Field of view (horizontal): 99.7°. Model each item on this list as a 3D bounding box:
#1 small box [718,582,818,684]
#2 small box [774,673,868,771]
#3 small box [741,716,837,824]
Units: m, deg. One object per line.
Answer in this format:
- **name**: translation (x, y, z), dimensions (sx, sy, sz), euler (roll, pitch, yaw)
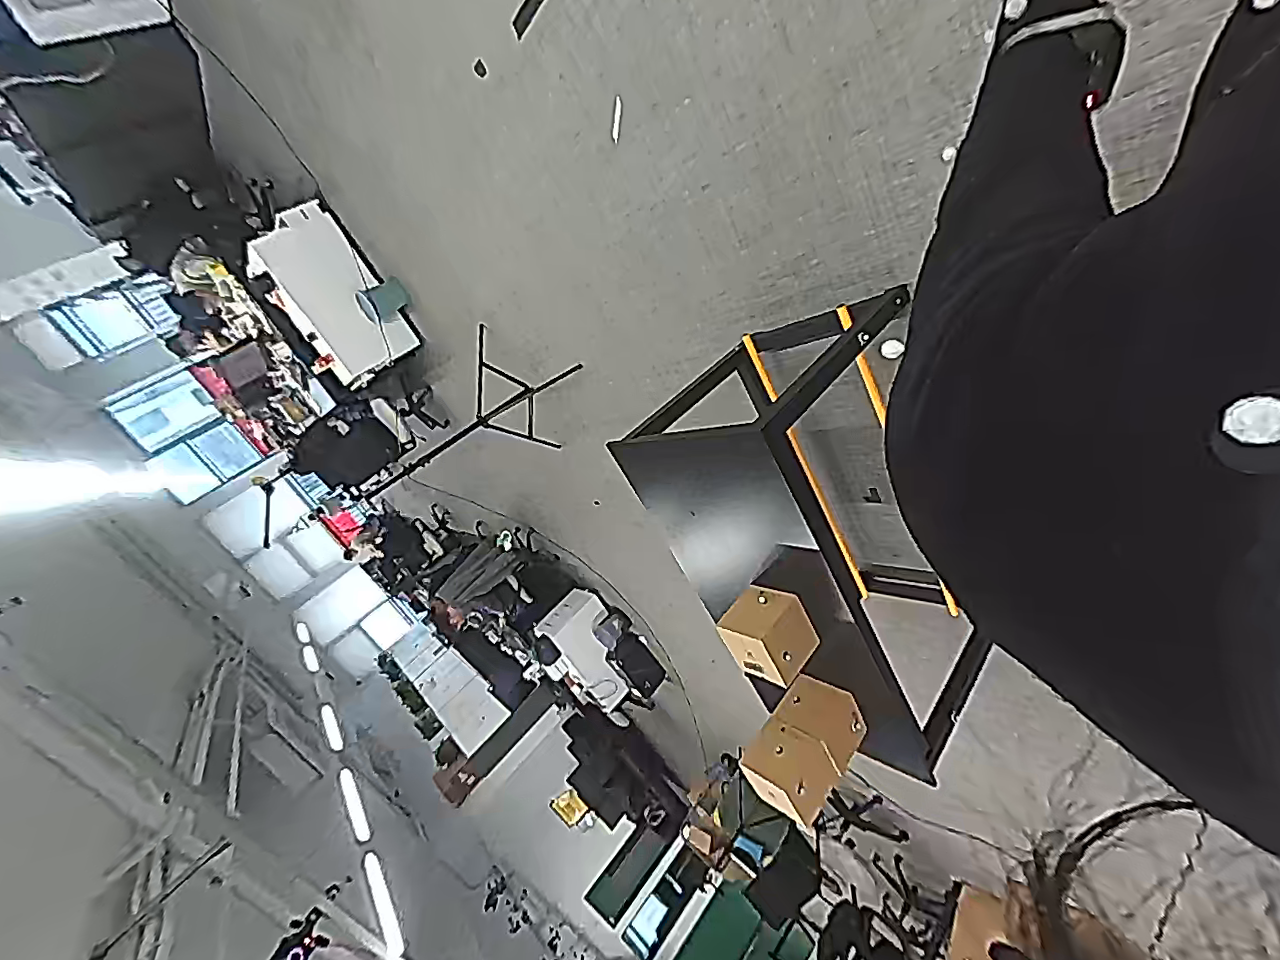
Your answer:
- **small box**: translation (0.348, 0.404, 1.451), dimensions (0.168, 0.176, 0.179), euler (2, 127, 55)
- **small box**: translation (0.529, 0.693, 1.573), dimensions (0.179, 0.176, 0.168), euler (4, 131, 53)
- **small box**: translation (0.418, 0.796, 1.506), dimensions (0.168, 0.176, 0.179), euler (6, 132, 54)
